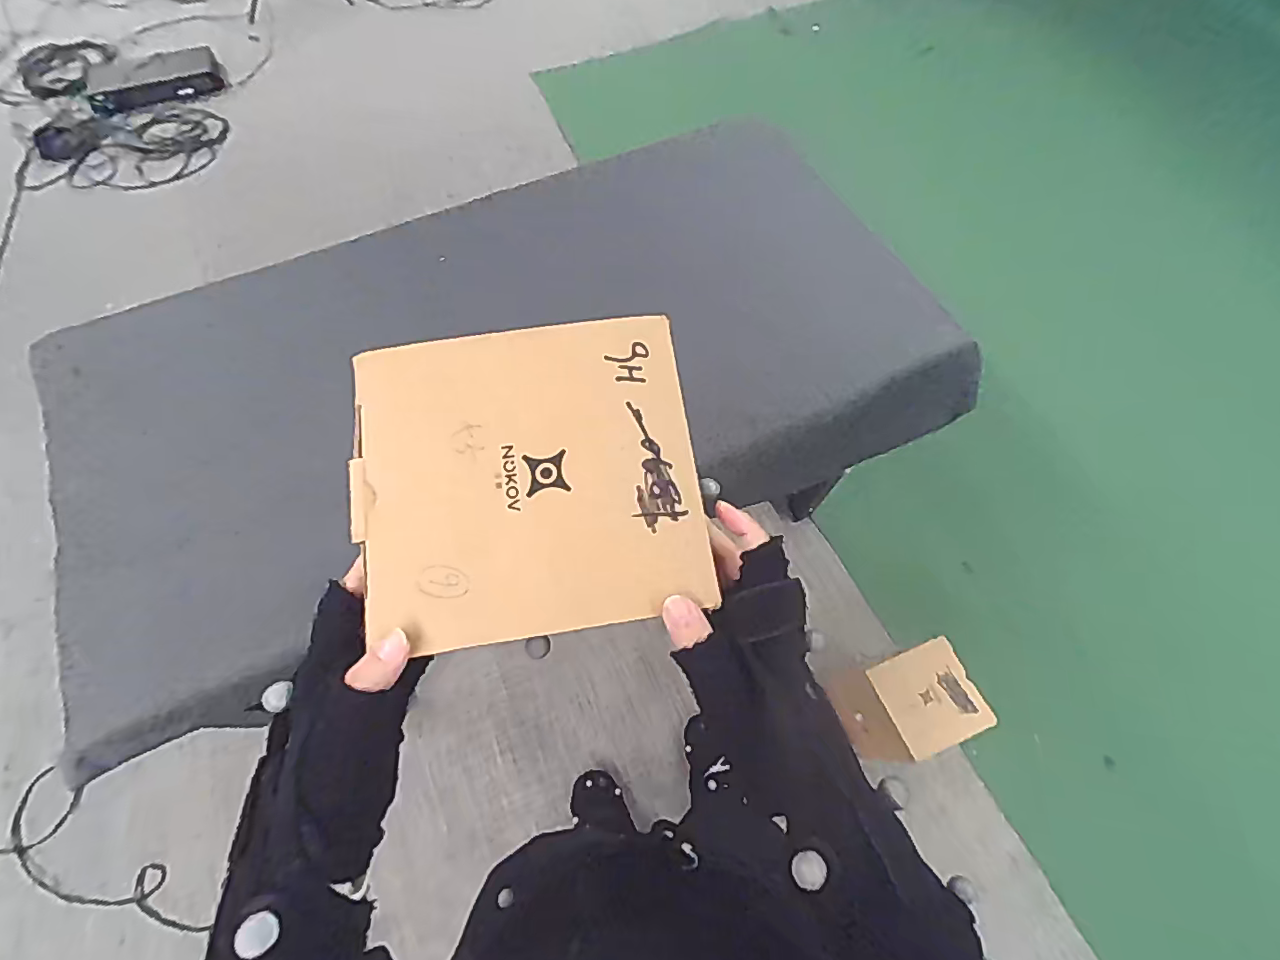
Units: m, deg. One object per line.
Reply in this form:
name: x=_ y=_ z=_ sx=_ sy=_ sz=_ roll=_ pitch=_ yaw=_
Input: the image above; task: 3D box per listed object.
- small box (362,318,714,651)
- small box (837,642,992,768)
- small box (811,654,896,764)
small box: x=-0.059 y=0.016 z=0.363 sx=0.179 sy=0.176 sz=0.168 roll=-8 pitch=77 yaw=-3
small box: x=0.514 y=0.431 z=1.042 sx=0.179 sy=0.176 sz=0.168 roll=-20 pitch=66 yaw=-9
small box: x=0.508 y=0.502 z=1.190 sx=0.179 sy=0.176 sz=0.168 roll=-21 pitch=66 yaw=-9
